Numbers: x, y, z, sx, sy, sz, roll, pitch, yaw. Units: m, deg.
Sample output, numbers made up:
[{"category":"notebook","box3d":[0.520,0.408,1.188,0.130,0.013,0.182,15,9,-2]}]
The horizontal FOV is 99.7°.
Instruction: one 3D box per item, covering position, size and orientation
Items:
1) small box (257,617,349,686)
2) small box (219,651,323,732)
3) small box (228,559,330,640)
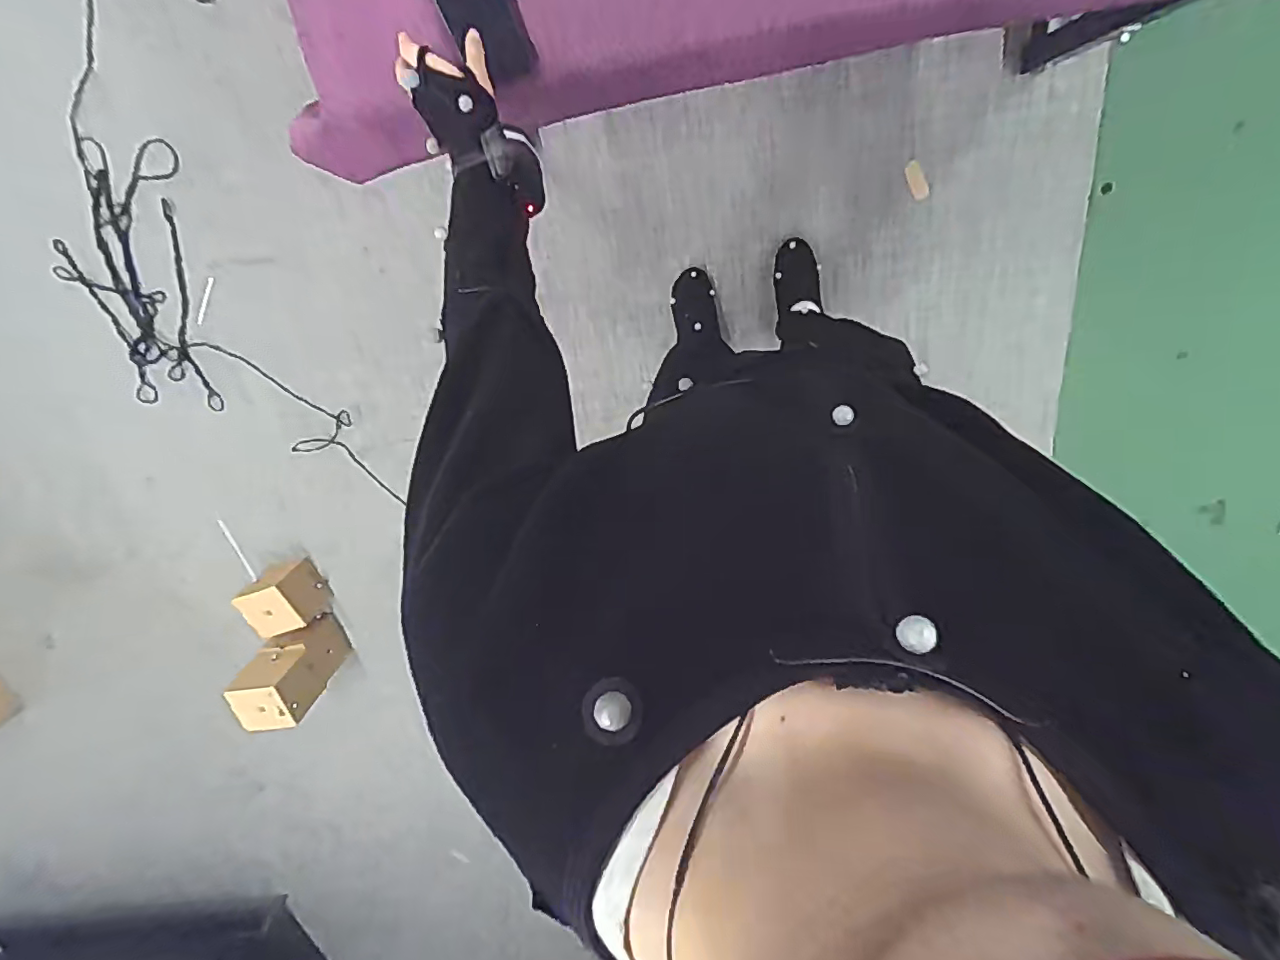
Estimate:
[{"category":"small box","box3d":[-1.132,0.581,1.830,0.168,0.176,0.179,-8,114,8]},{"category":"small box","box3d":[-1.139,0.654,1.684,0.179,0.176,0.168,-7,114,8]},{"category":"small box","box3d":[-1.152,0.380,1.740,0.179,0.176,0.168,-18,113,11]}]
